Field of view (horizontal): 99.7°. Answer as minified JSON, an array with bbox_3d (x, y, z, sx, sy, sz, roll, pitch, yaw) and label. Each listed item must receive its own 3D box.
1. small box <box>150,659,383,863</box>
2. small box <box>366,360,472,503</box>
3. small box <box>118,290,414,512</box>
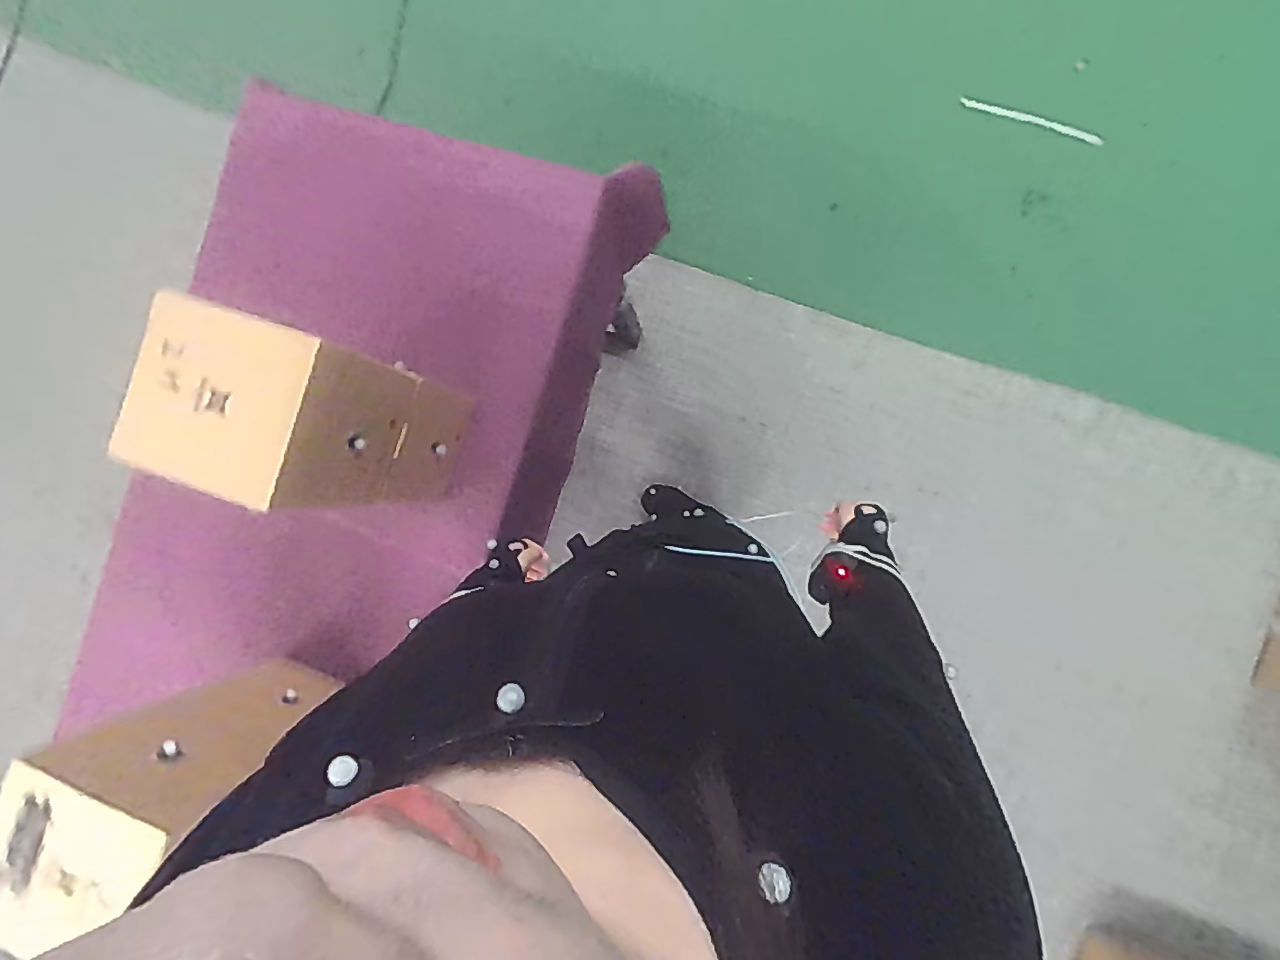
[{"bbox_3d":[-0.501,0.368,0.749,0.179,0.176,0.168,20,91,5],"label":"small box"},{"bbox_3d":[-0.357,-0.076,0.741,0.179,0.176,0.168,18,91,5],"label":"small box"},{"bbox_3d":[-0.376,-0.074,0.576,0.179,0.176,0.168,18,91,6],"label":"small box"}]
